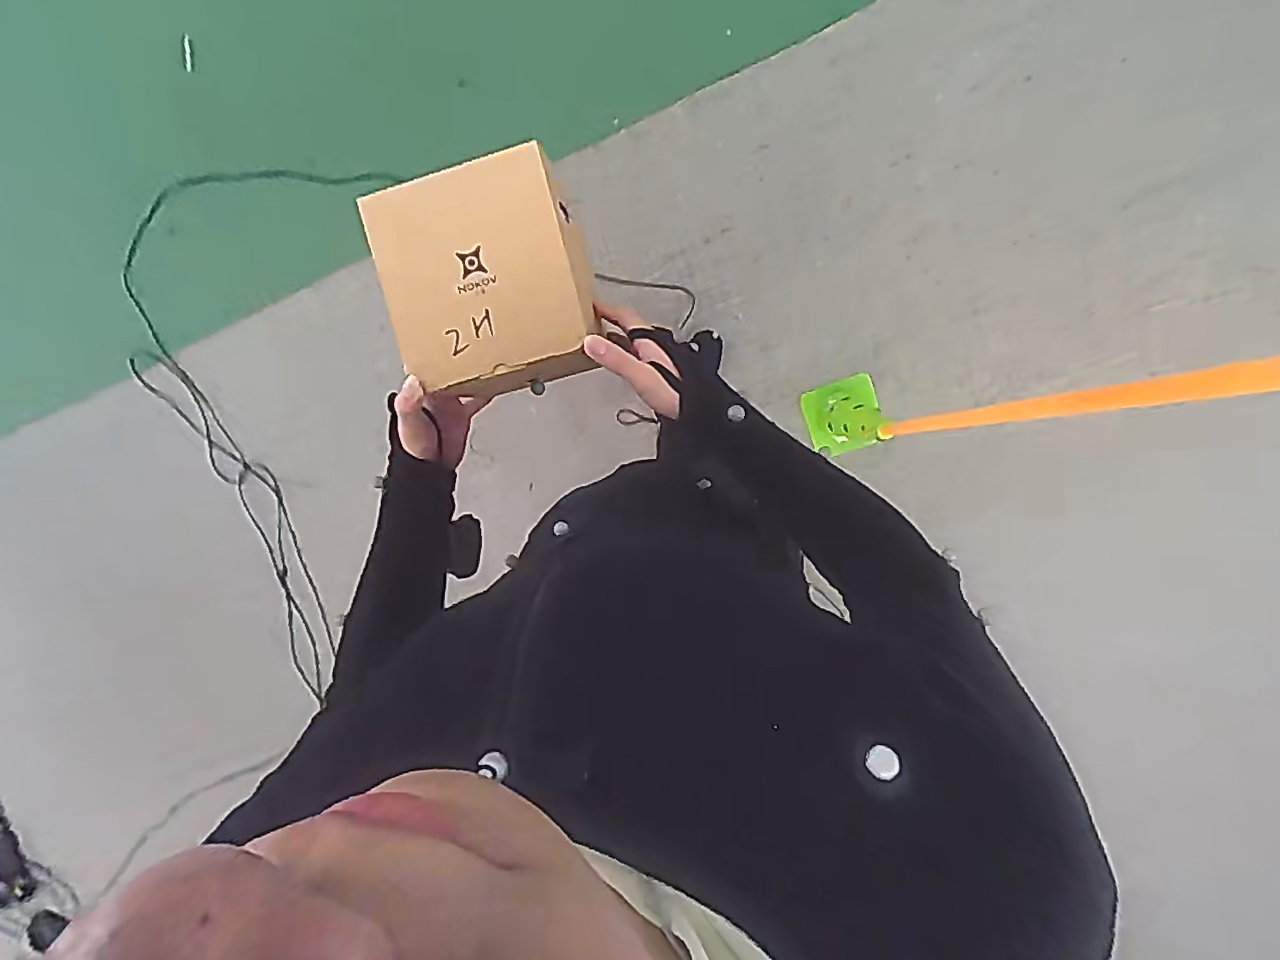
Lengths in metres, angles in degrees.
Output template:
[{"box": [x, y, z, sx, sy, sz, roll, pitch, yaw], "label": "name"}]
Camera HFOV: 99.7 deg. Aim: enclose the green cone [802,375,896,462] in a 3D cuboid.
[{"box": [0.550, -0.136, 1.326, 0.202, 0.368, 0.200, -20, 98, 10], "label": "green cone"}]
